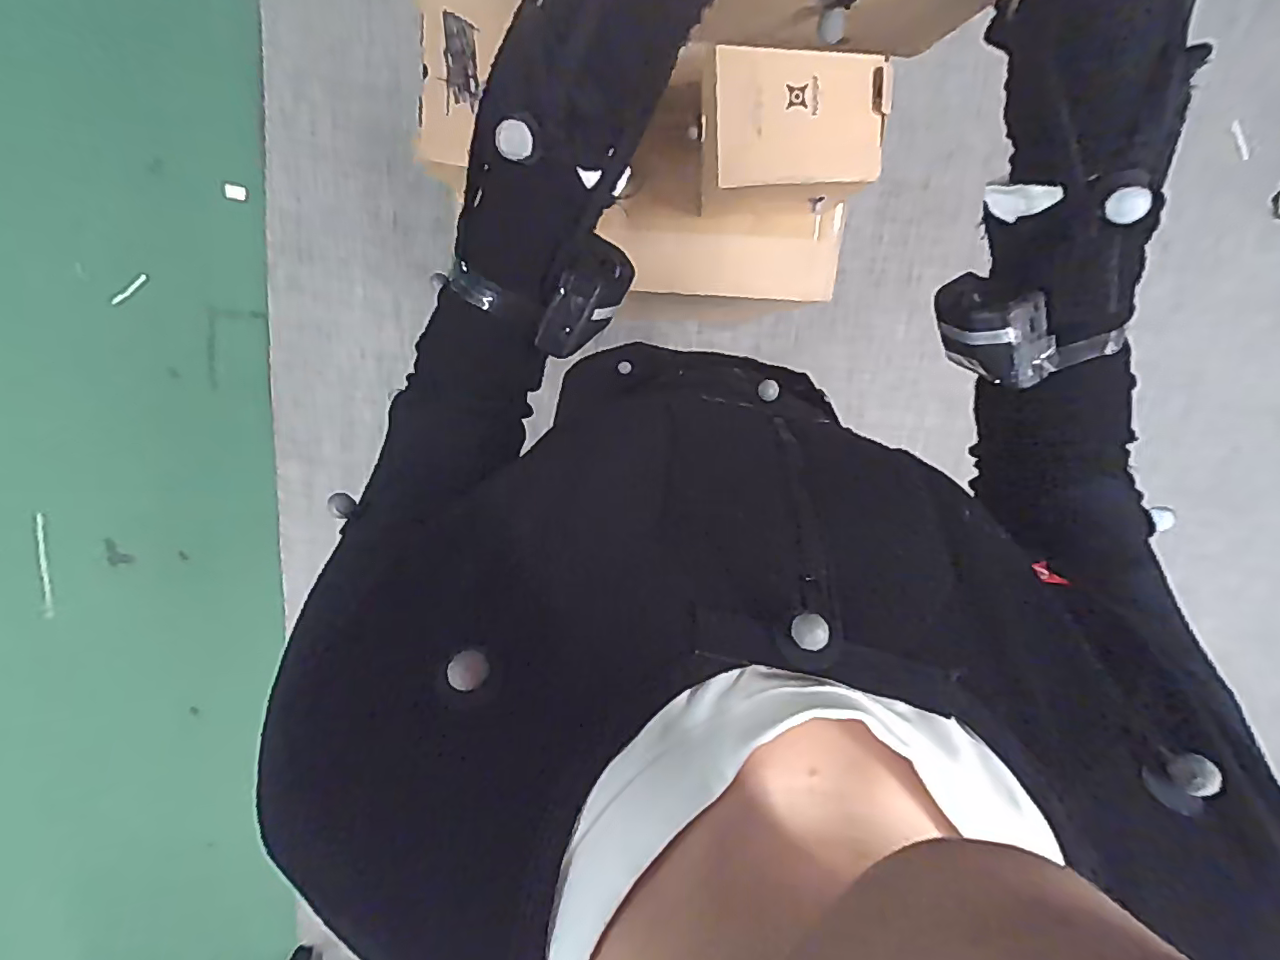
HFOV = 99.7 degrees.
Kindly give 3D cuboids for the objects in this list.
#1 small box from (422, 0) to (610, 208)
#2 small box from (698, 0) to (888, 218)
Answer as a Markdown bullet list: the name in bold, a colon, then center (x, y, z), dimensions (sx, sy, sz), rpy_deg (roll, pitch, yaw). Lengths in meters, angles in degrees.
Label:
- **small box**: center (-0.135, -0.432, 0.633), dimensions (0.179, 0.176, 0.168), rpy_deg (7, 106, -2)
- **small box**: center (0.165, -0.417, 0.635), dimensions (0.179, 0.176, 0.168), rpy_deg (-3, 105, 2)
